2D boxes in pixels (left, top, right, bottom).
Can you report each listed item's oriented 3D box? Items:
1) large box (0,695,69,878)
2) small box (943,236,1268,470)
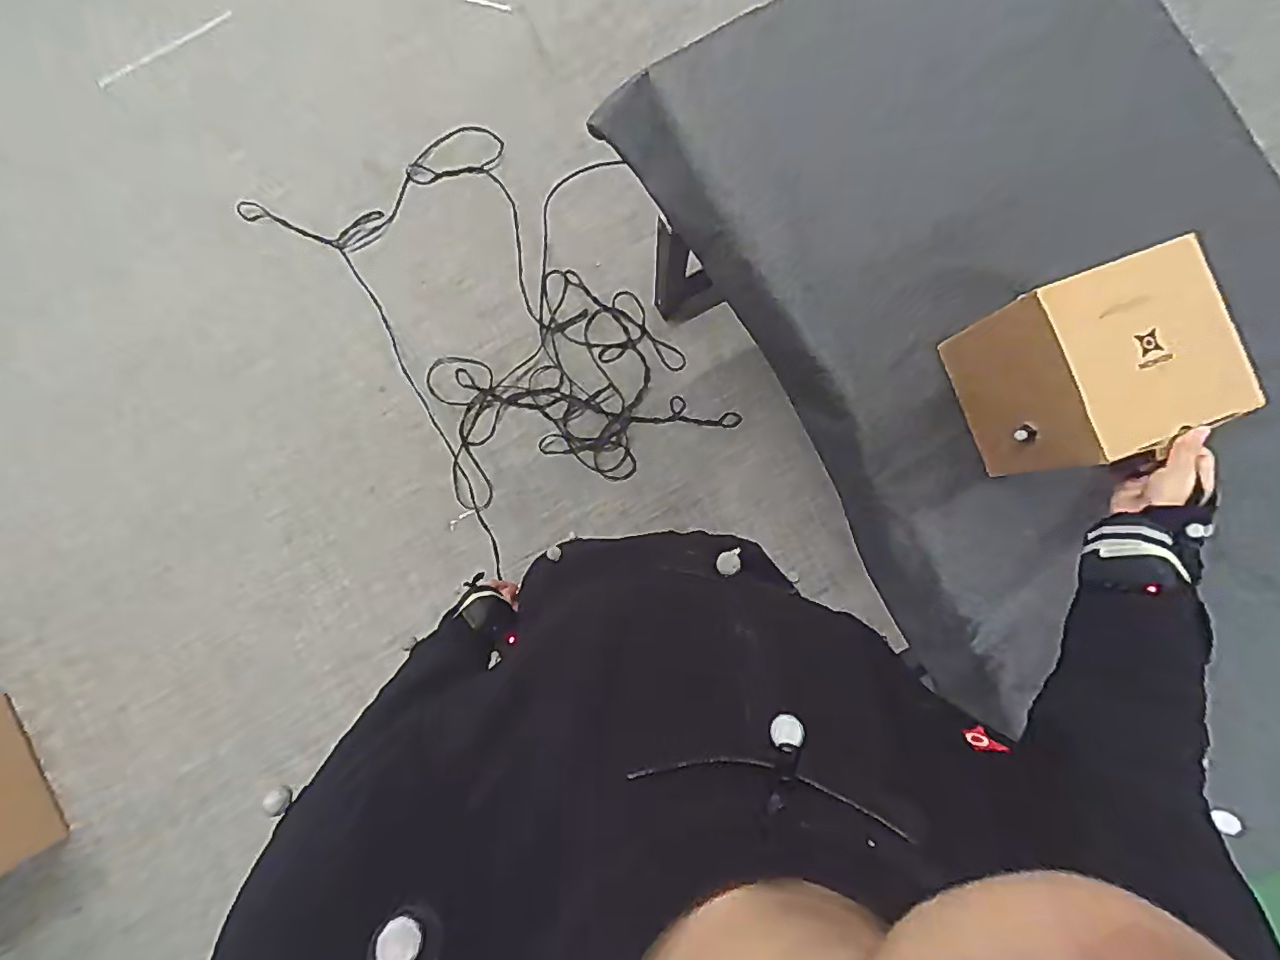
[{"bbox_3d":[-1.634,0.771,1.199,0.320,0.320,0.408,-30,85,-2],"label":"large box"},{"bbox_3d":[0.471,-0.117,0.579,0.168,0.176,0.179,-20,86,-3],"label":"small box"}]
